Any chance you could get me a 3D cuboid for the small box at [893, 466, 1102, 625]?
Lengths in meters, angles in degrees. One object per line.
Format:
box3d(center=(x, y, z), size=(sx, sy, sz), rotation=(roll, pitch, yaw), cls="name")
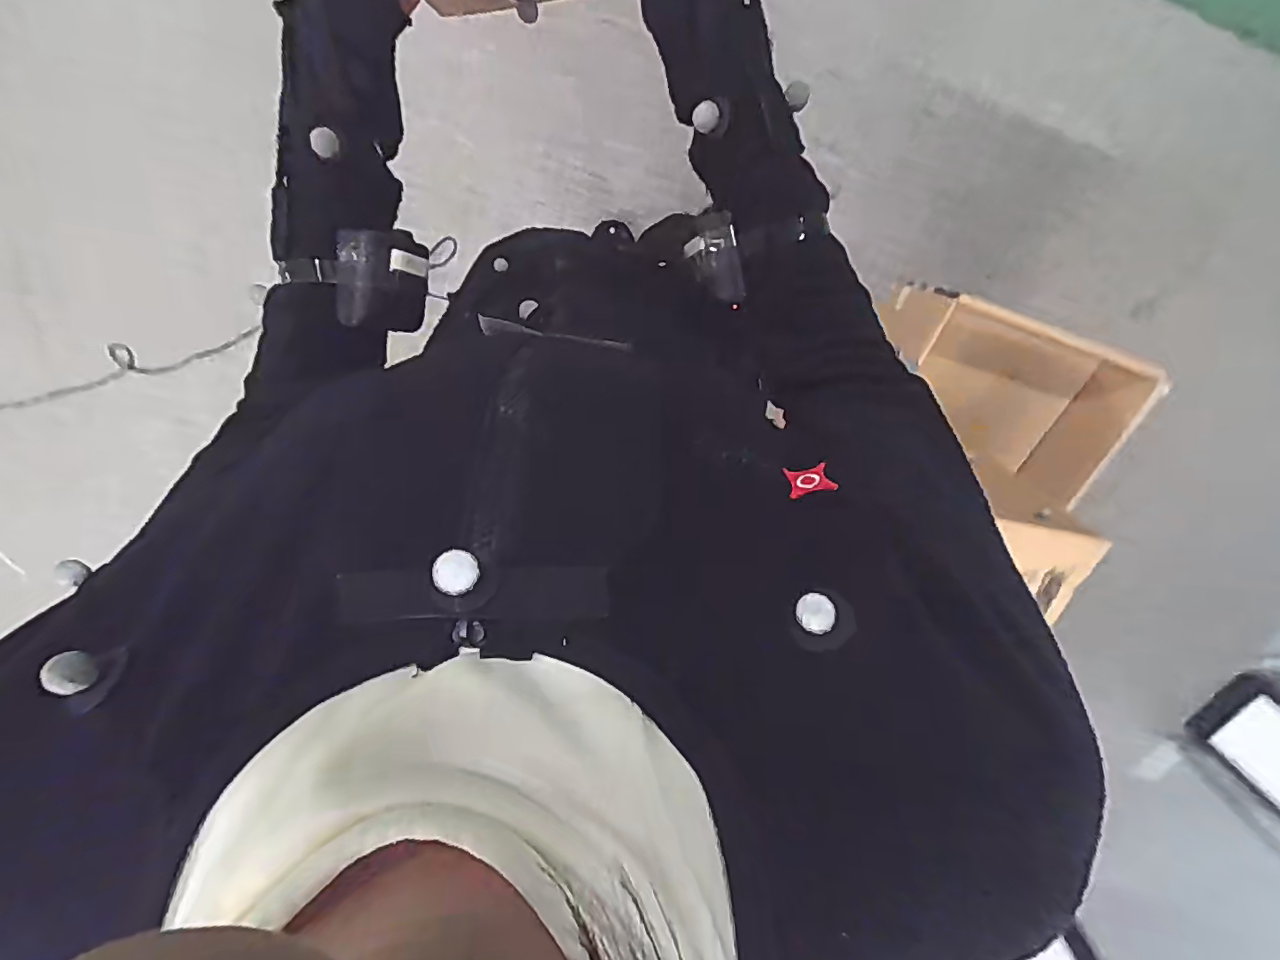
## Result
box3d(center=(0.534, 0.095, 0.839), size=(0.179, 0.176, 0.168), rotation=(12, 116, -5), cls="small box")
